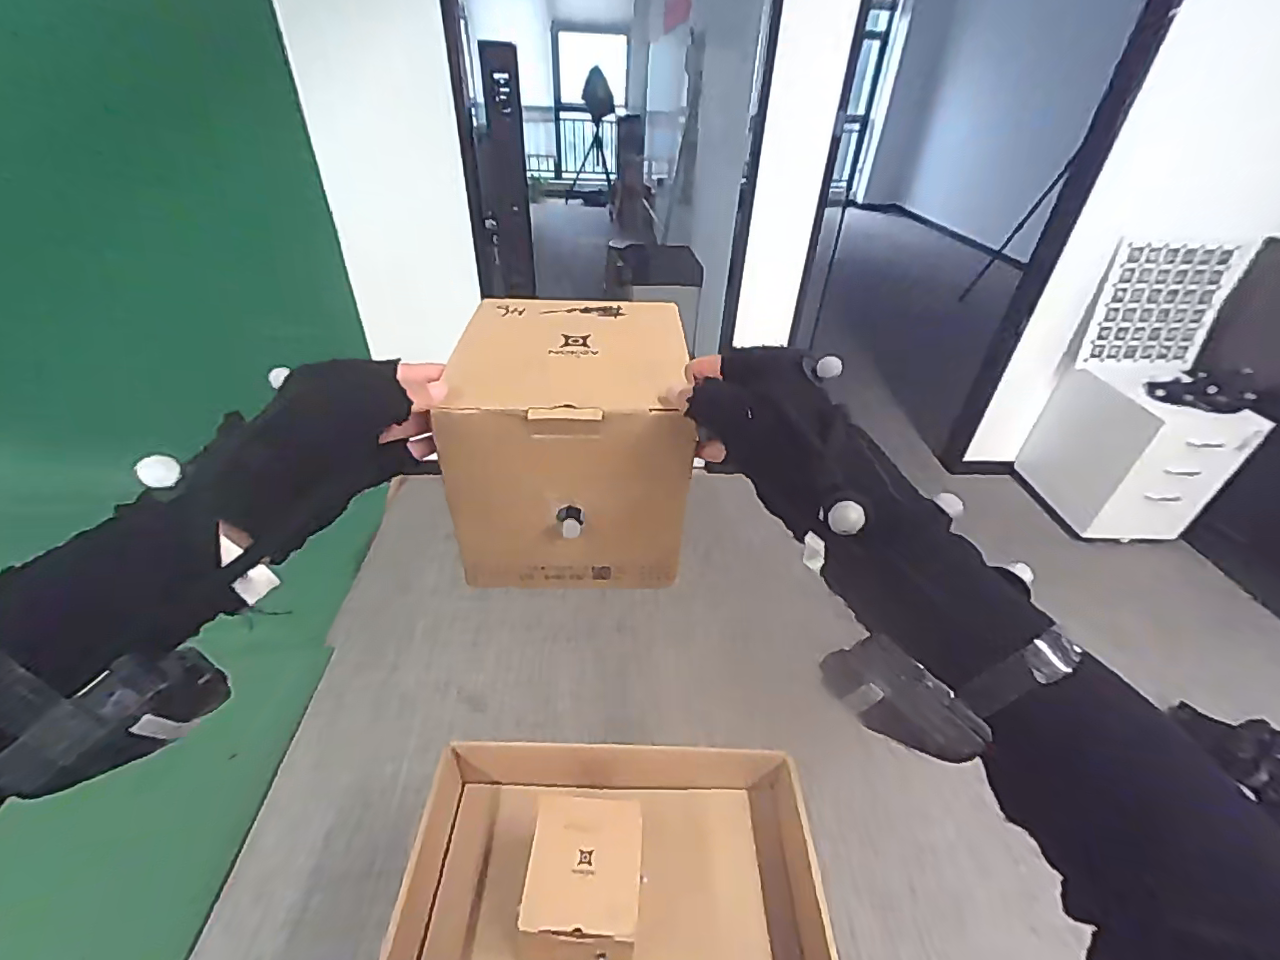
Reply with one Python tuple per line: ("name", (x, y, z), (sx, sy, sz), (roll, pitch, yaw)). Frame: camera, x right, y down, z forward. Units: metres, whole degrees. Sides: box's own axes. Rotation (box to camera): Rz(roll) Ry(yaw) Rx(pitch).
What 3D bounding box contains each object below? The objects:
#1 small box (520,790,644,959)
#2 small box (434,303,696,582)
("small box", (-0.084, 0.622, 0.847), (0.168, 0.176, 0.179), (5, 35, -1))
("small box", (-0.048, -0.031, 0.444), (0.168, 0.176, 0.179), (0, 40, -3))
